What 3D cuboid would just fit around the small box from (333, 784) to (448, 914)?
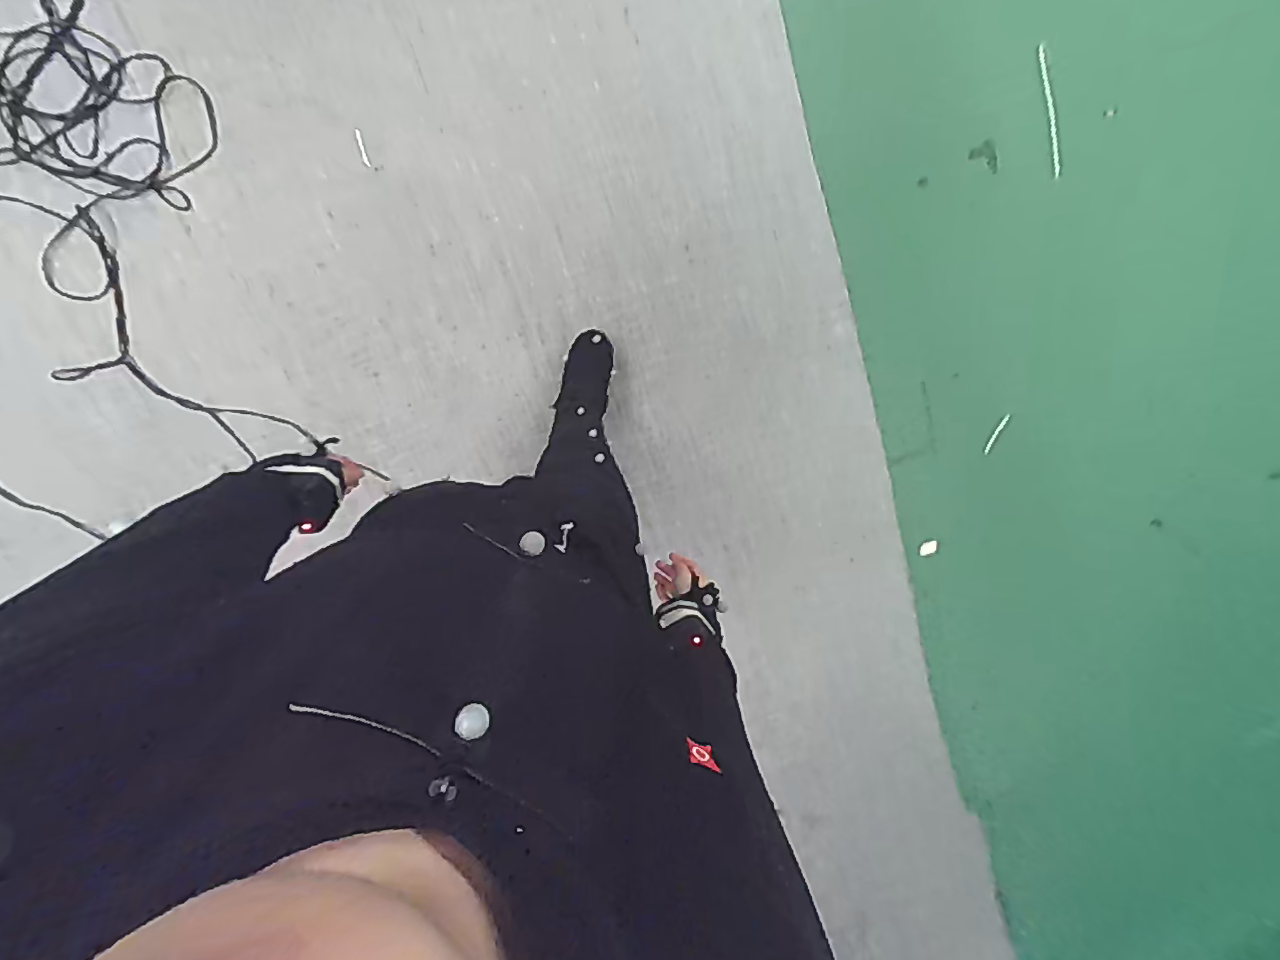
[{"bbox_3d":[-0.600,0.887,1.324,0.168,0.176,0.179,-32,103,-2],"label":"small box"}]
